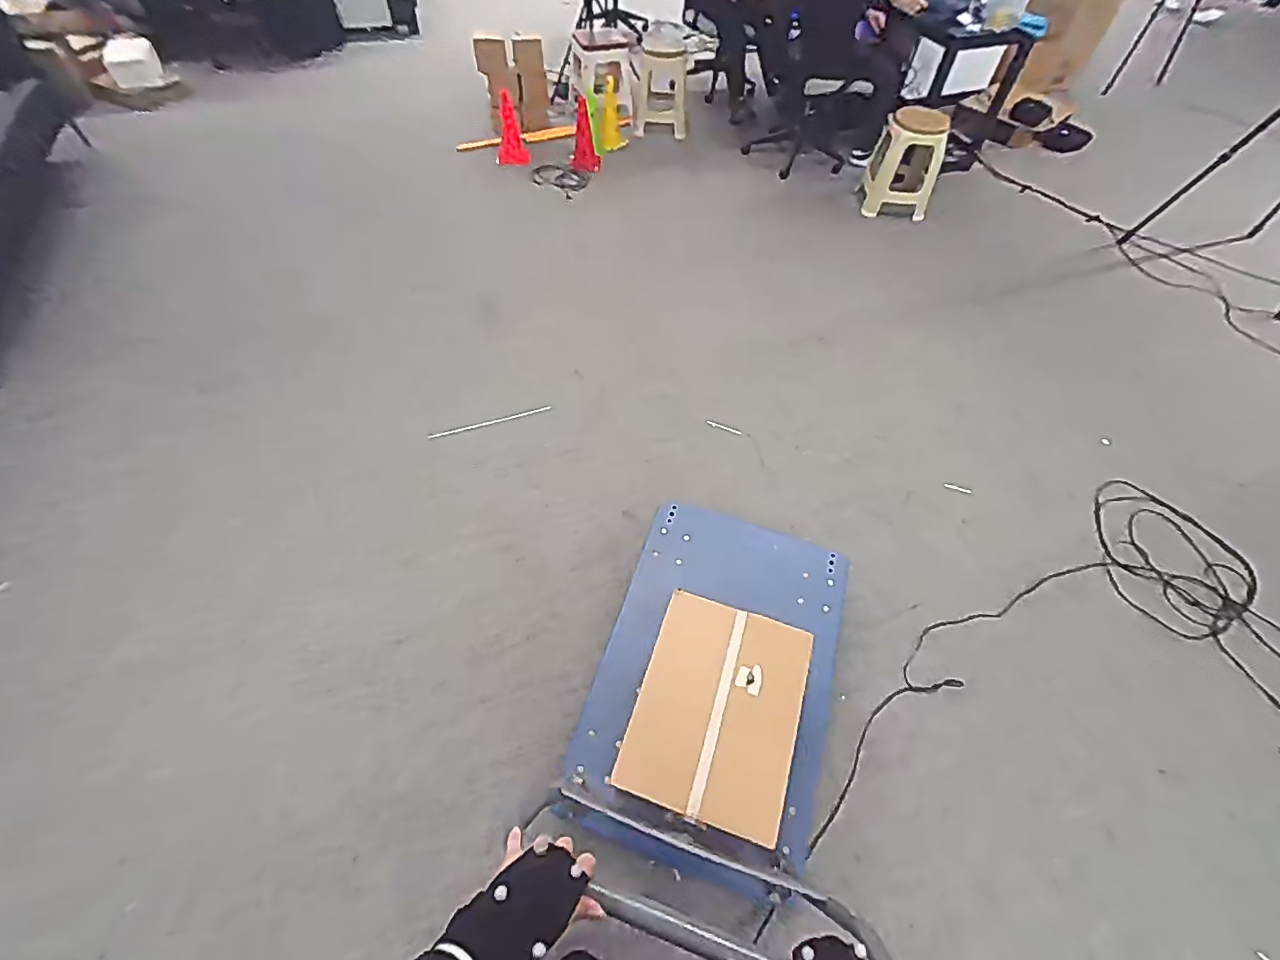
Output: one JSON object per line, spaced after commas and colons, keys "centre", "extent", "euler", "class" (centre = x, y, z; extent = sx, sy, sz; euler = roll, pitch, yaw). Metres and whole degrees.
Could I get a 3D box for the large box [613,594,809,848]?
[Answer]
{"centre": [0.154, 0.529, 1.190], "extent": [0.320, 0.320, 0.408], "euler": [16, 59, 10], "class": "large box"}
